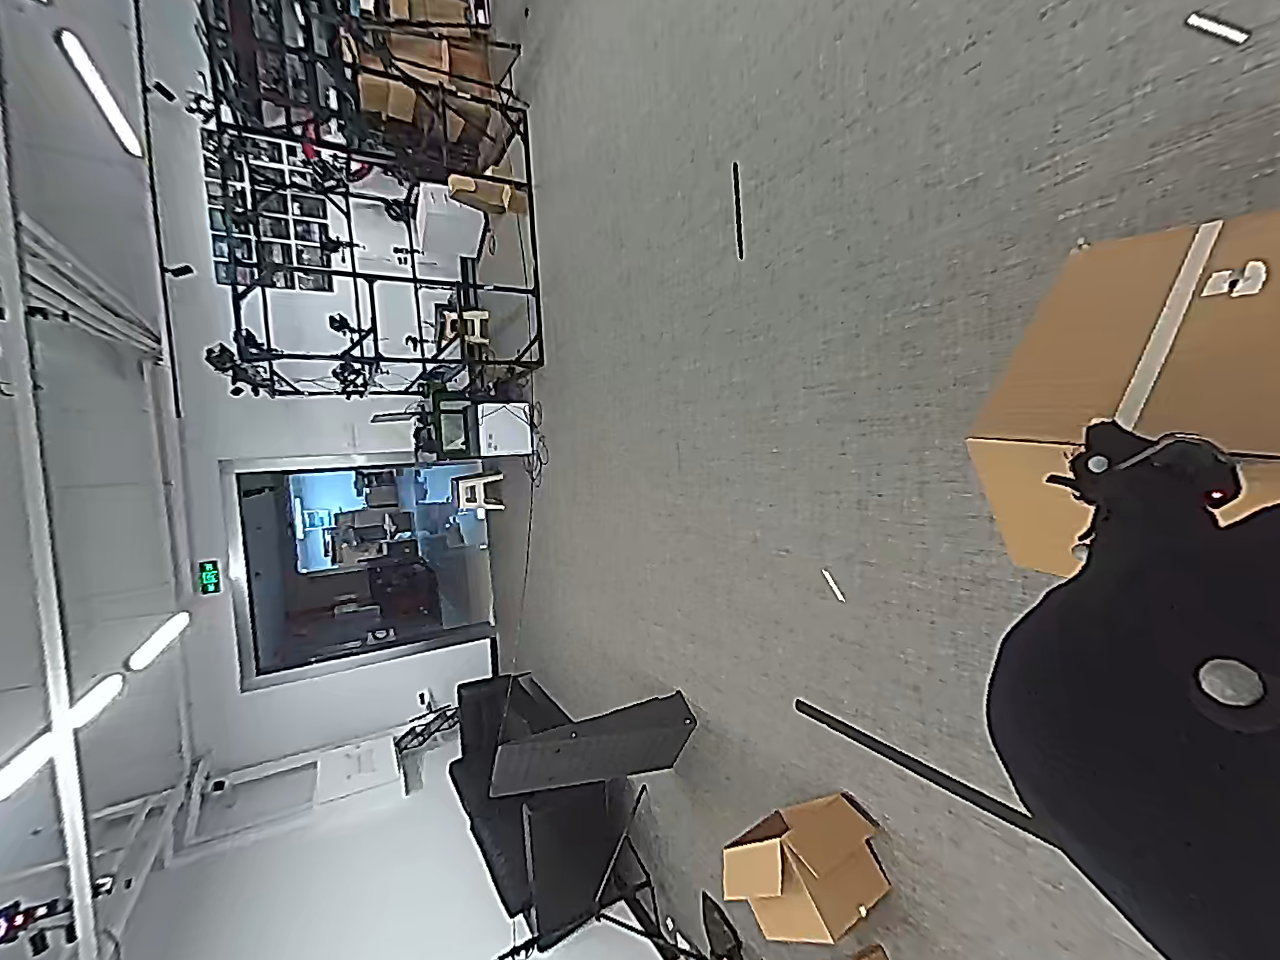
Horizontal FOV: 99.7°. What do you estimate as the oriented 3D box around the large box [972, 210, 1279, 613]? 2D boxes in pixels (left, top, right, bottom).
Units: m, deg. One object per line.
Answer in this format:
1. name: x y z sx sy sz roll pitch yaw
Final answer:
1. large box: 0.733 -0.094 0.738 0.320 0.408 0.320 49 161 -31
